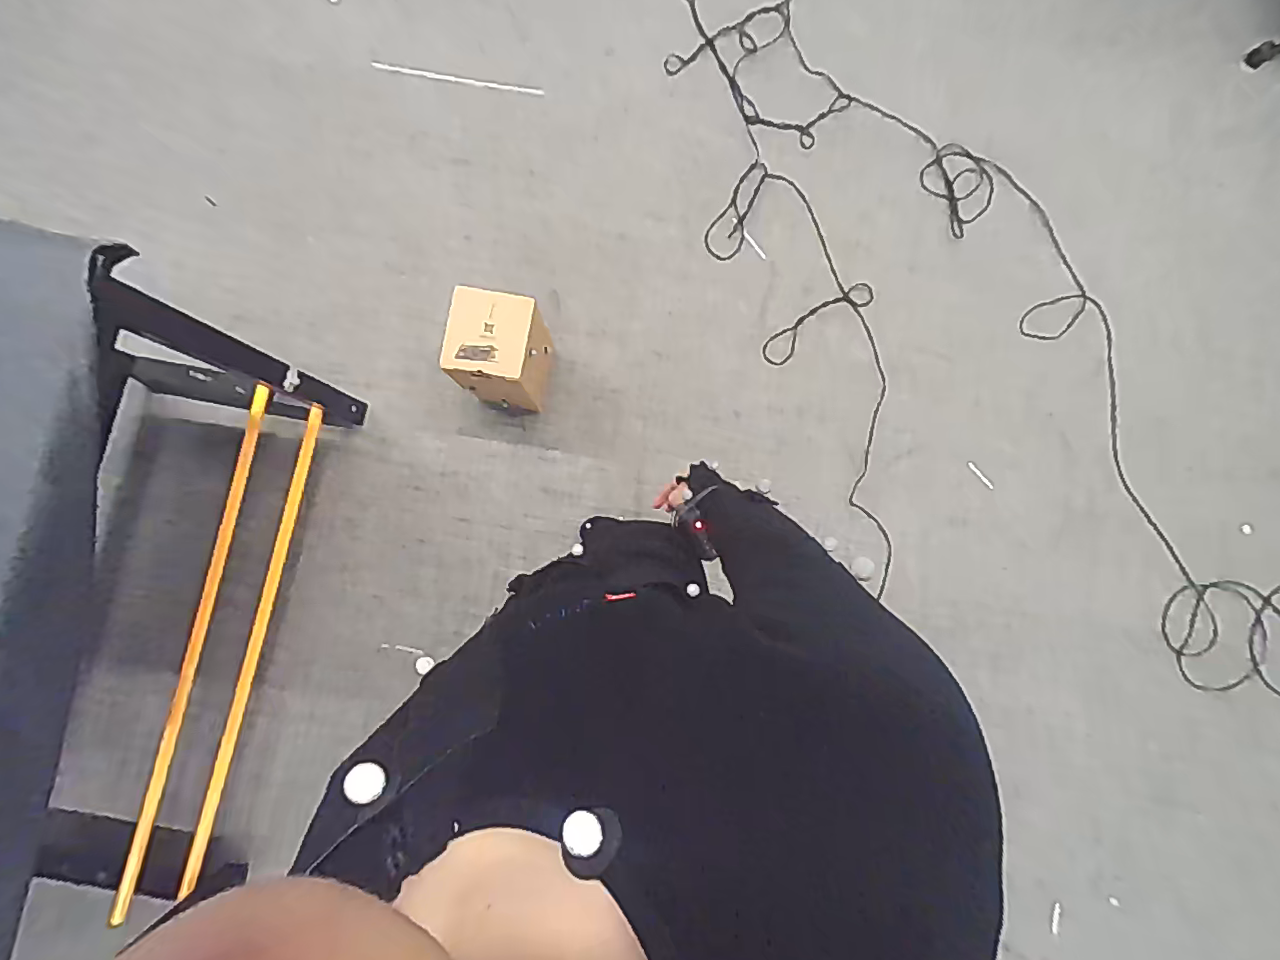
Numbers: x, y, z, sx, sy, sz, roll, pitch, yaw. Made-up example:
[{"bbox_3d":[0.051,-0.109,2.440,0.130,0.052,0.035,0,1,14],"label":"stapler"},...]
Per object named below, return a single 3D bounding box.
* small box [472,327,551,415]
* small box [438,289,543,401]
[{"bbox_3d":[-0.319,-0.275,1.322,0.168,0.176,0.179,11,83,0],"label":"small box"},{"bbox_3d":[-0.310,-0.280,1.159,0.168,0.176,0.179,9,83,-2],"label":"small box"}]
